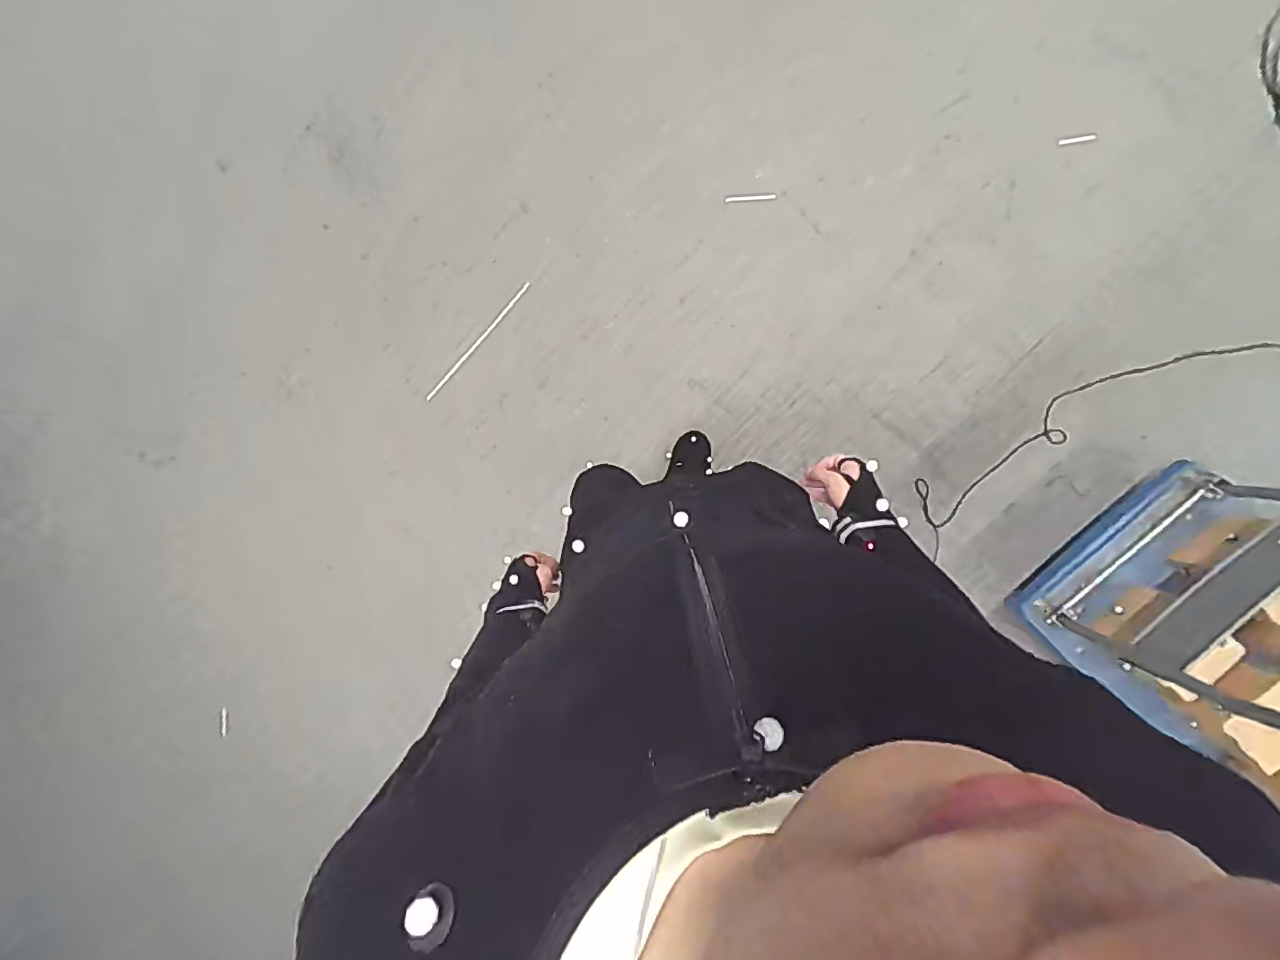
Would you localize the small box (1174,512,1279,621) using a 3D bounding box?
[{"bbox_3d":[1.446,0.197,1.288,0.179,0.176,0.168,-42,91,6],"label":"small box"}]

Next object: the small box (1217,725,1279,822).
[{"bbox_3d":[1.604,0.741,1.319,0.179,0.176,0.168,-45,87,8],"label":"small box"}]

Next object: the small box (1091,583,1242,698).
[{"bbox_3d":[1.261,0.383,1.318,0.168,0.176,0.179,43,98,0],"label":"small box"}]
